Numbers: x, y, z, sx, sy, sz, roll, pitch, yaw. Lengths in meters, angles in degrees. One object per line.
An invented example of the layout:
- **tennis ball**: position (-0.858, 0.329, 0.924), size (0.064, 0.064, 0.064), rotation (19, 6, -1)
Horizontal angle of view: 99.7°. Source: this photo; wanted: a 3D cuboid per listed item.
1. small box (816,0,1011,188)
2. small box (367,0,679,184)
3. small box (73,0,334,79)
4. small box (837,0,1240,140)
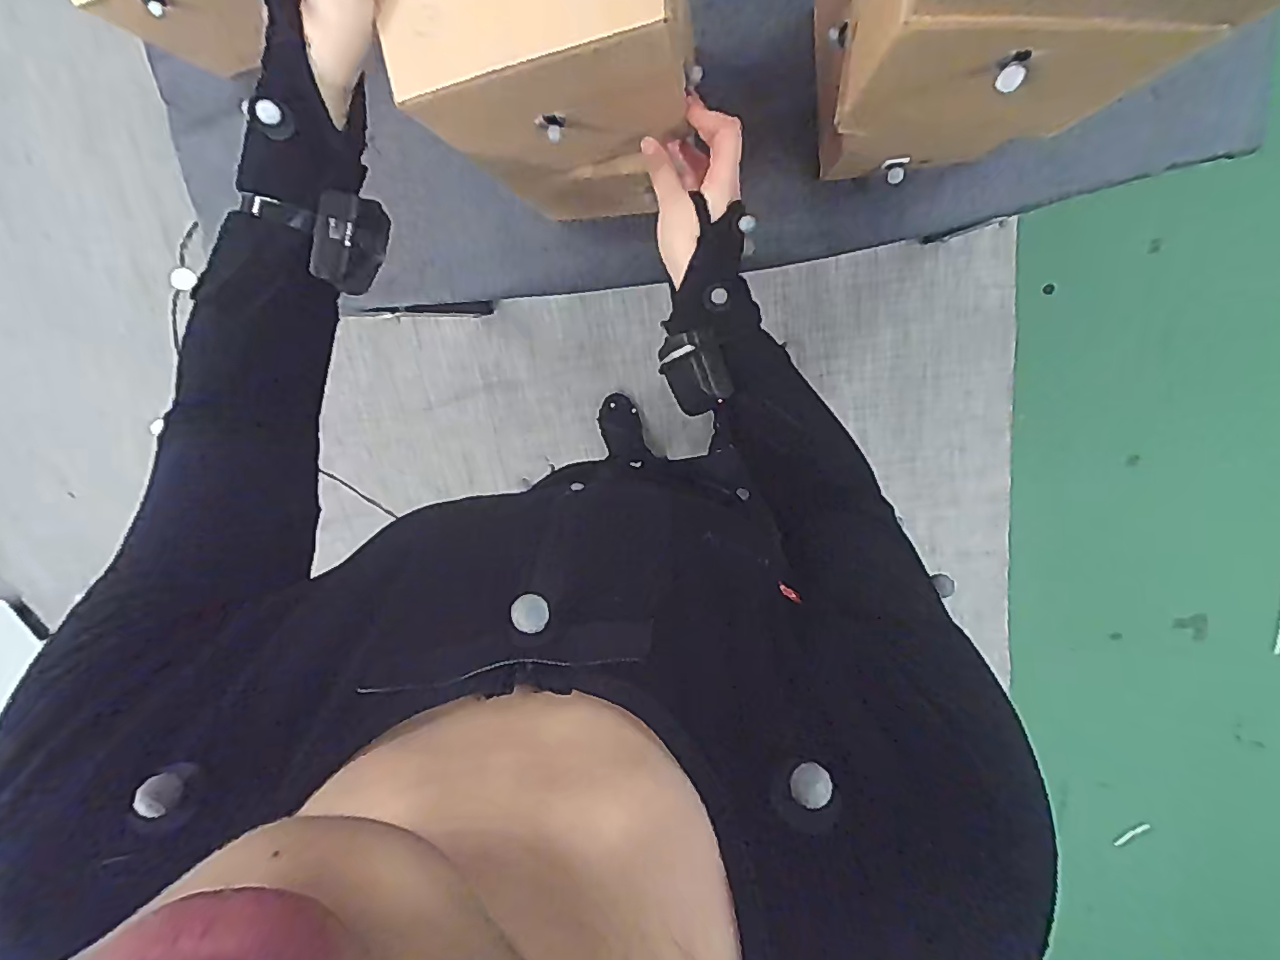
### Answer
- **small box**: position (0.263, -0.398, 0.502), size (0.168, 0.176, 0.179), rotation (-5, 105, 9)
- **small box**: position (-0.070, -0.336, 0.382), size (0.179, 0.176, 0.168), rotation (-7, 101, 12)
- **small box**: position (-0.454, -0.555, 0.545), size (0.168, 0.176, 0.179), rotation (-10, 106, 9)
- **small box**: position (0.245, -0.341, 0.350), size (0.179, 0.176, 0.168), rotation (6, 106, 7)
